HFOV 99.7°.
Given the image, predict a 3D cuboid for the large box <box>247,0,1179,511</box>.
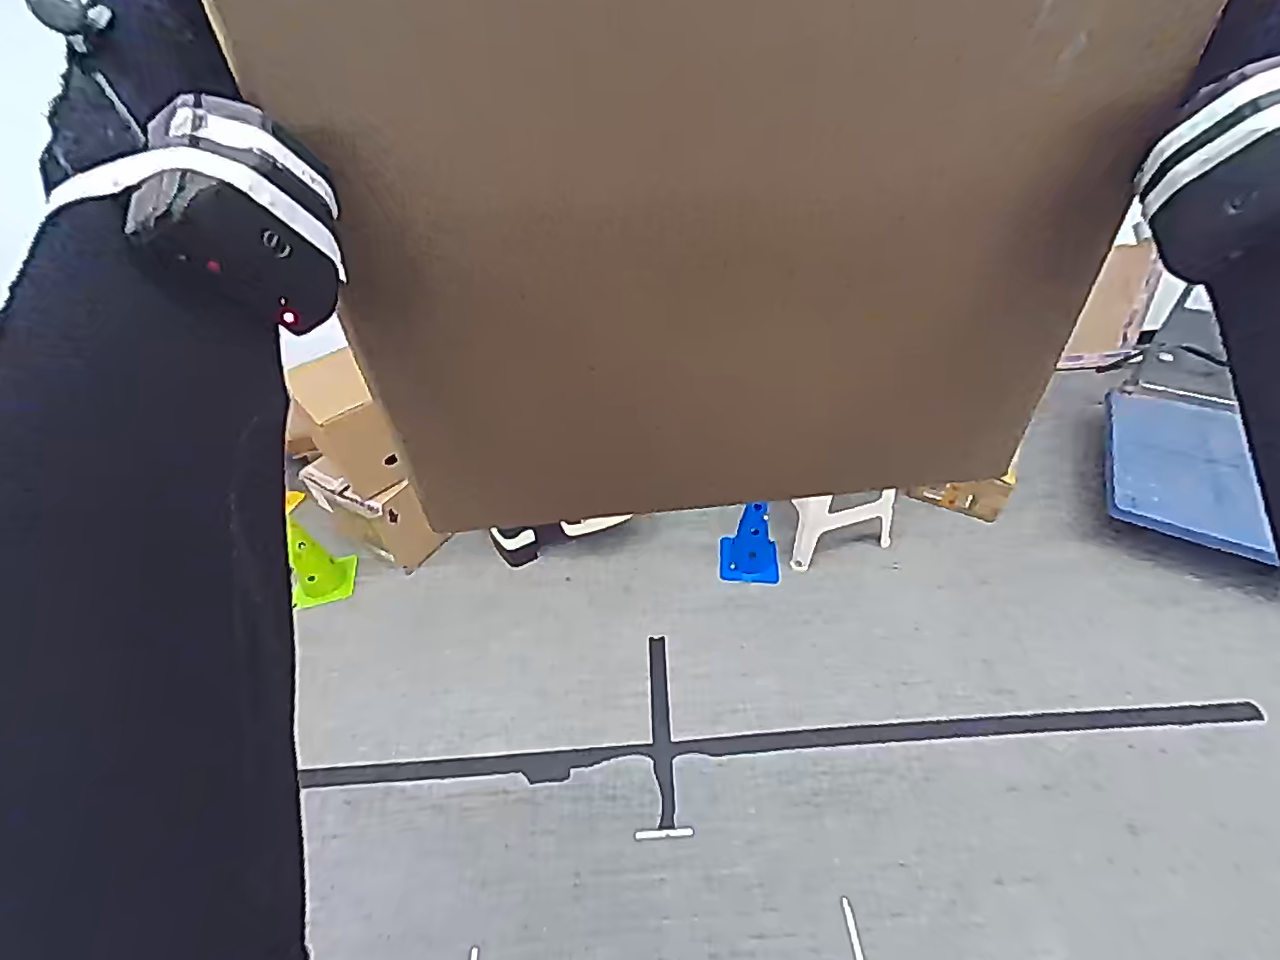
[{"bbox_3d":[0.032,-0.203,0.404,0.408,0.320,0.320,-5,40,-2],"label":"large box"}]
